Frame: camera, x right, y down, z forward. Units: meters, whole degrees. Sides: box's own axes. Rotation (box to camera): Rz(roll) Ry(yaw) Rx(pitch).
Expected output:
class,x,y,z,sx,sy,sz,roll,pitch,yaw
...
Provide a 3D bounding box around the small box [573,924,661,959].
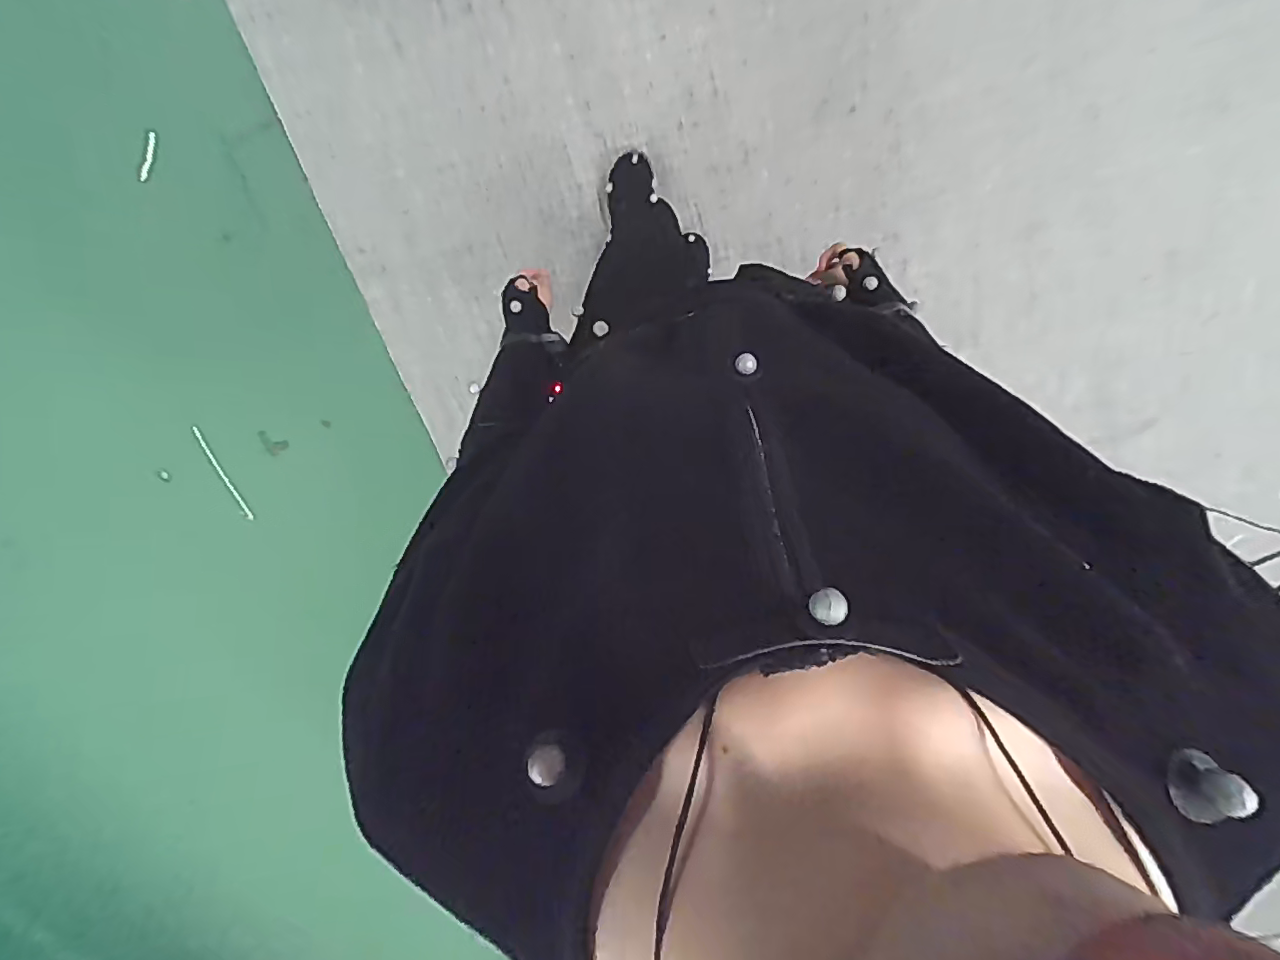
class,x,y,z,sx,sy,sz,roll,pitch,yaw
small box,-0.055,1.160,1.233,0.179,0.176,0.168,-16,114,8
